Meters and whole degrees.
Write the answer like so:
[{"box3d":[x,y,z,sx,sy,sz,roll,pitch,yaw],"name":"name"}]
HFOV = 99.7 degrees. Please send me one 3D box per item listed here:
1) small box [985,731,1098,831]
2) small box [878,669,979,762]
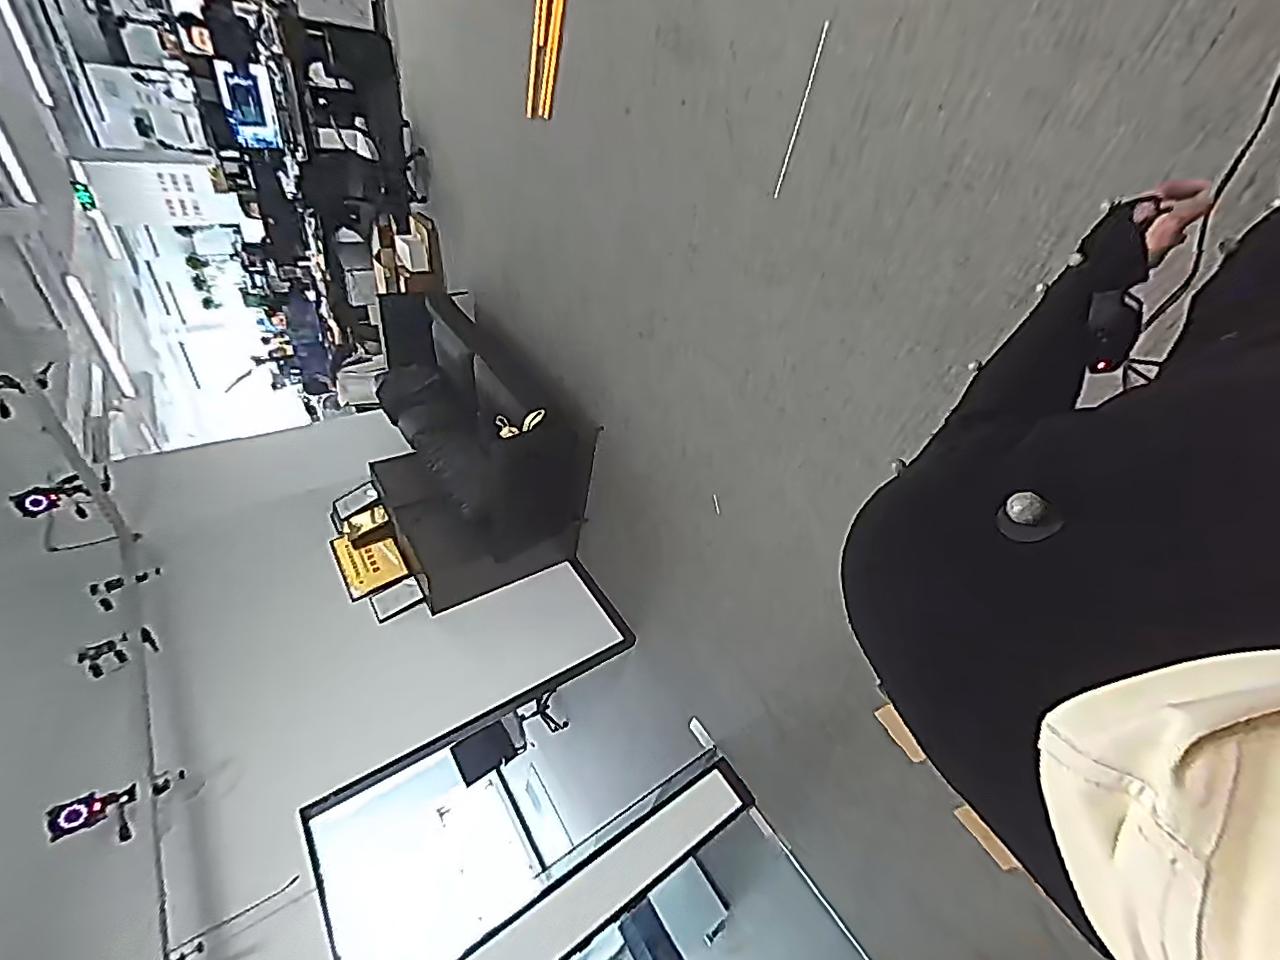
[{"box3d":[1.154,0.860,1.552,0.168,0.176,0.179,51,144,30],"name":"small box"},{"box3d":[0.860,0.699,1.611,0.168,0.176,0.179,52,144,28],"name":"small box"}]
